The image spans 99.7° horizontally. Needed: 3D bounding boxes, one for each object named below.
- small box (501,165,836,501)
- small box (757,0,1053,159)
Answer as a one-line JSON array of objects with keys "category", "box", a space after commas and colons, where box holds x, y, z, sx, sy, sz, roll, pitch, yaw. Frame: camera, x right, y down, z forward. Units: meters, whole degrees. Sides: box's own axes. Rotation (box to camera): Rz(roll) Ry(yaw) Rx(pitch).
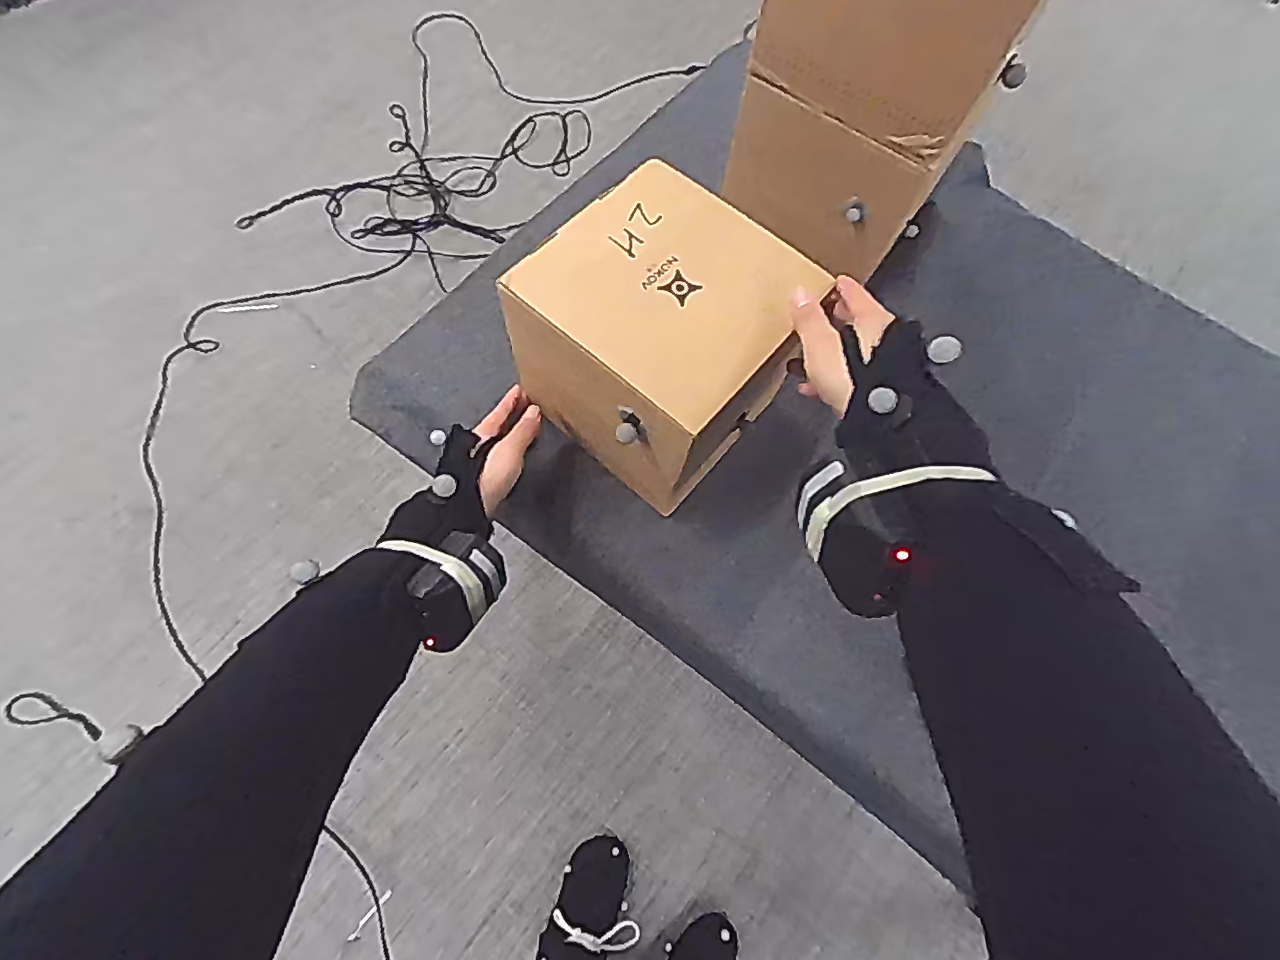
[{"category": "small box", "box": [0.017, -0.103, 0.446, 0.179, 0.176, 0.168, 39, 71, 11]}, {"category": "small box", "box": [0.207, -0.374, 0.382, 0.179, 0.176, 0.168, 34, 75, 8]}]
